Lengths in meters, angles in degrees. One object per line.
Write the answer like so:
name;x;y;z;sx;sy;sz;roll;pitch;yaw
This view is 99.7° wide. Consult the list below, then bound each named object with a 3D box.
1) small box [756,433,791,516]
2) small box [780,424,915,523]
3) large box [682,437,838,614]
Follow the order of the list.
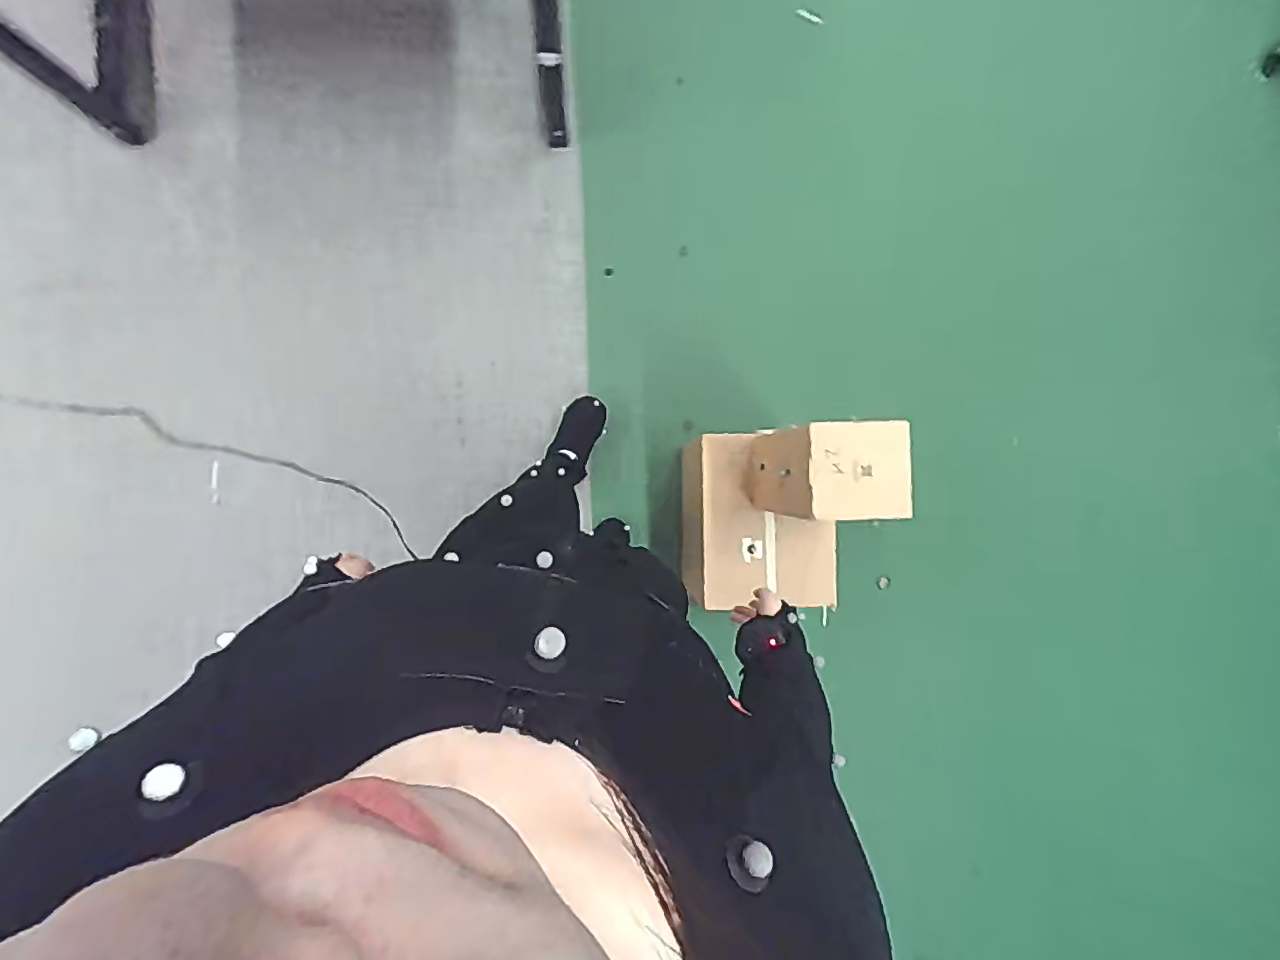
small box;0.354;-0.011;1.137;0.179;0.176;0.168;0;90;-4
small box;0.364;-0.011;0.972;0.179;0.176;0.168;-1;89;-4
large box;0.286;0.100;1.374;0.320;0.320;0.408;0;90;-4
